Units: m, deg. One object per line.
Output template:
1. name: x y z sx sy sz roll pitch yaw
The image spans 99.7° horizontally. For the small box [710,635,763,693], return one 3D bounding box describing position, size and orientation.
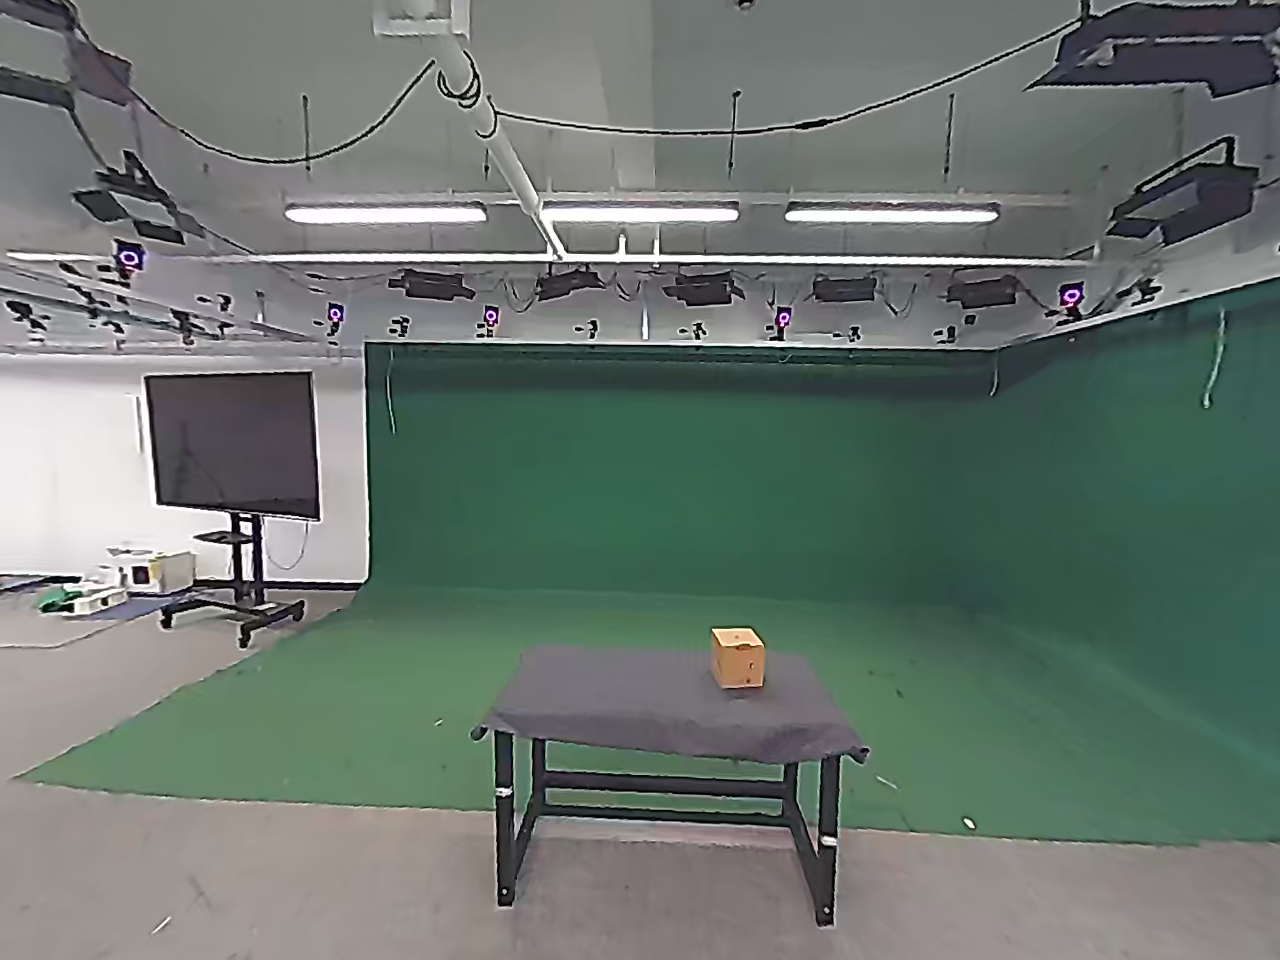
1. small box: 0.373 0.715 2.104 0.168 0.176 0.179 2 3 -6
